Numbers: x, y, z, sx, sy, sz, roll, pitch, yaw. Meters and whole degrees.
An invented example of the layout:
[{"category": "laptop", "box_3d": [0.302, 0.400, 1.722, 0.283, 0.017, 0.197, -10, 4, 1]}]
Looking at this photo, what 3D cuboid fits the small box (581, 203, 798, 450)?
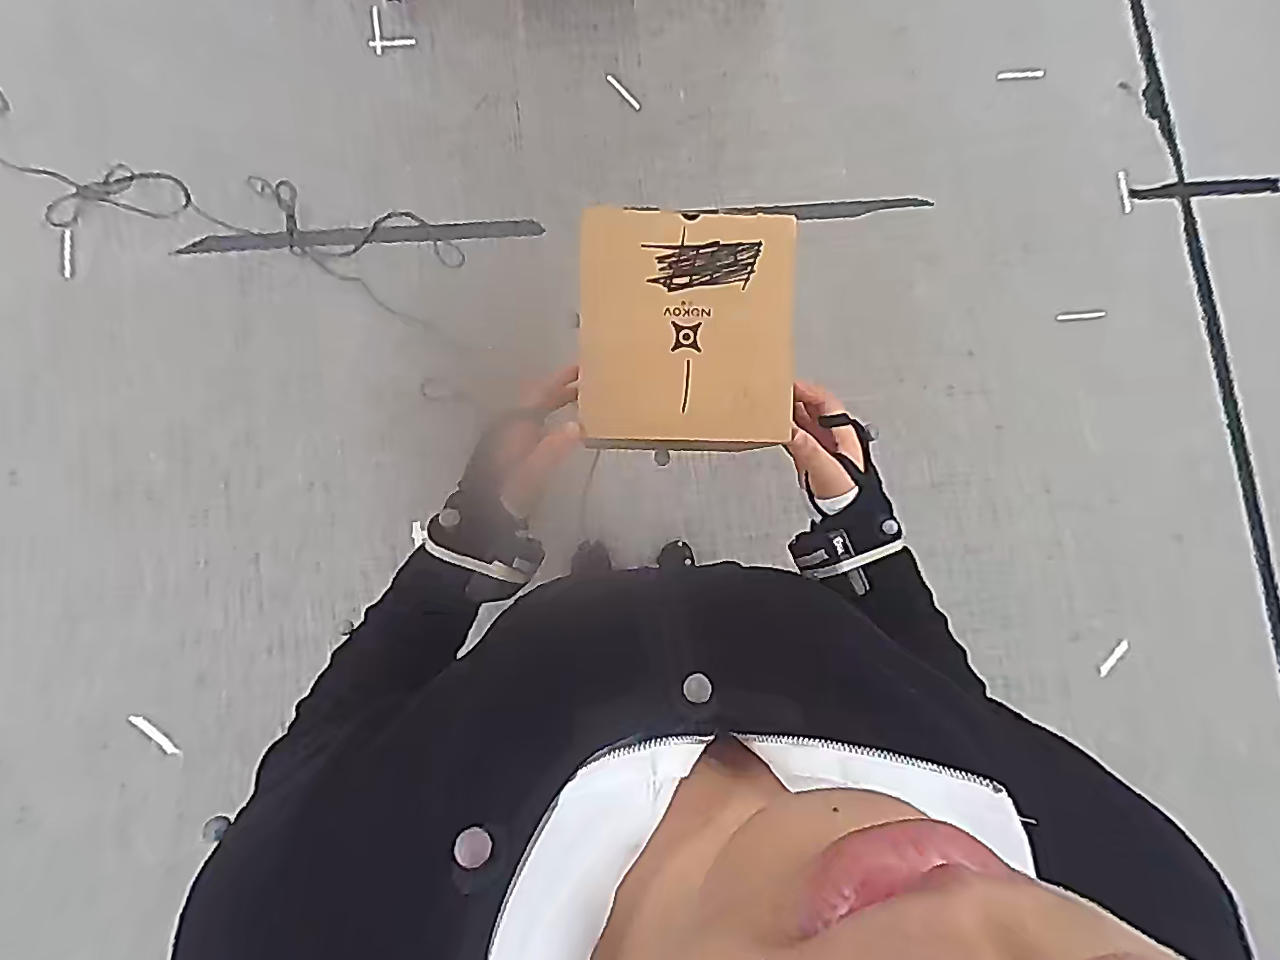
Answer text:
[{"category": "small box", "box_3d": [0.034, -0.120, 0.490, 0.168, 0.176, 0.179, 1, 91, -3]}]
